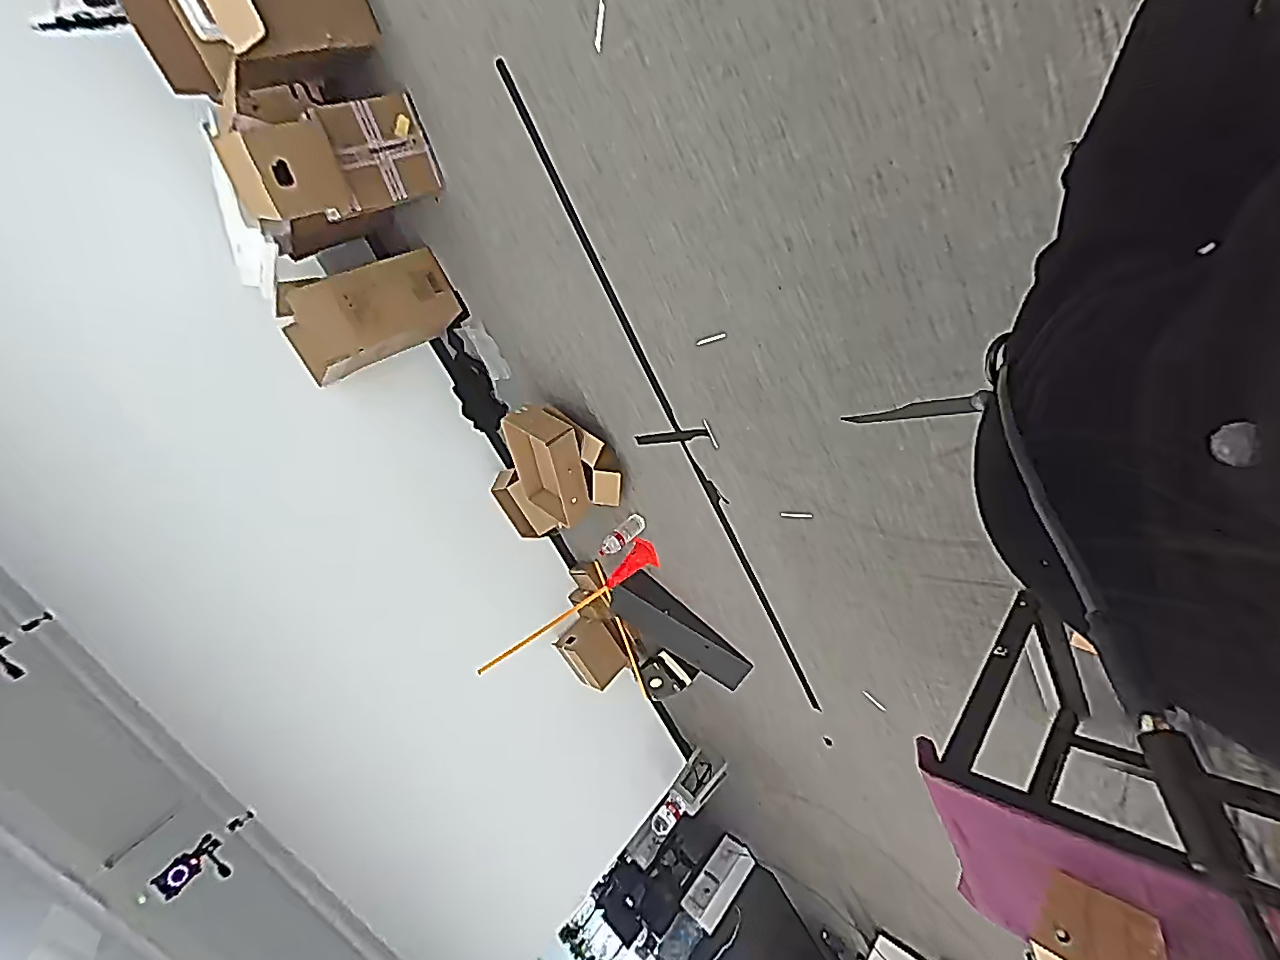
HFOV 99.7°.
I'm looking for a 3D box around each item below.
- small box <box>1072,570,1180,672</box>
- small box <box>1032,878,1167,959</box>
[{"bbox_3d":[1.298,0.367,1.447,0.179,0.176,0.168,17,135,42],"label":"small box"},{"bbox_3d":[0.948,0.974,1.115,0.179,0.176,0.168,0,124,52],"label":"small box"}]
